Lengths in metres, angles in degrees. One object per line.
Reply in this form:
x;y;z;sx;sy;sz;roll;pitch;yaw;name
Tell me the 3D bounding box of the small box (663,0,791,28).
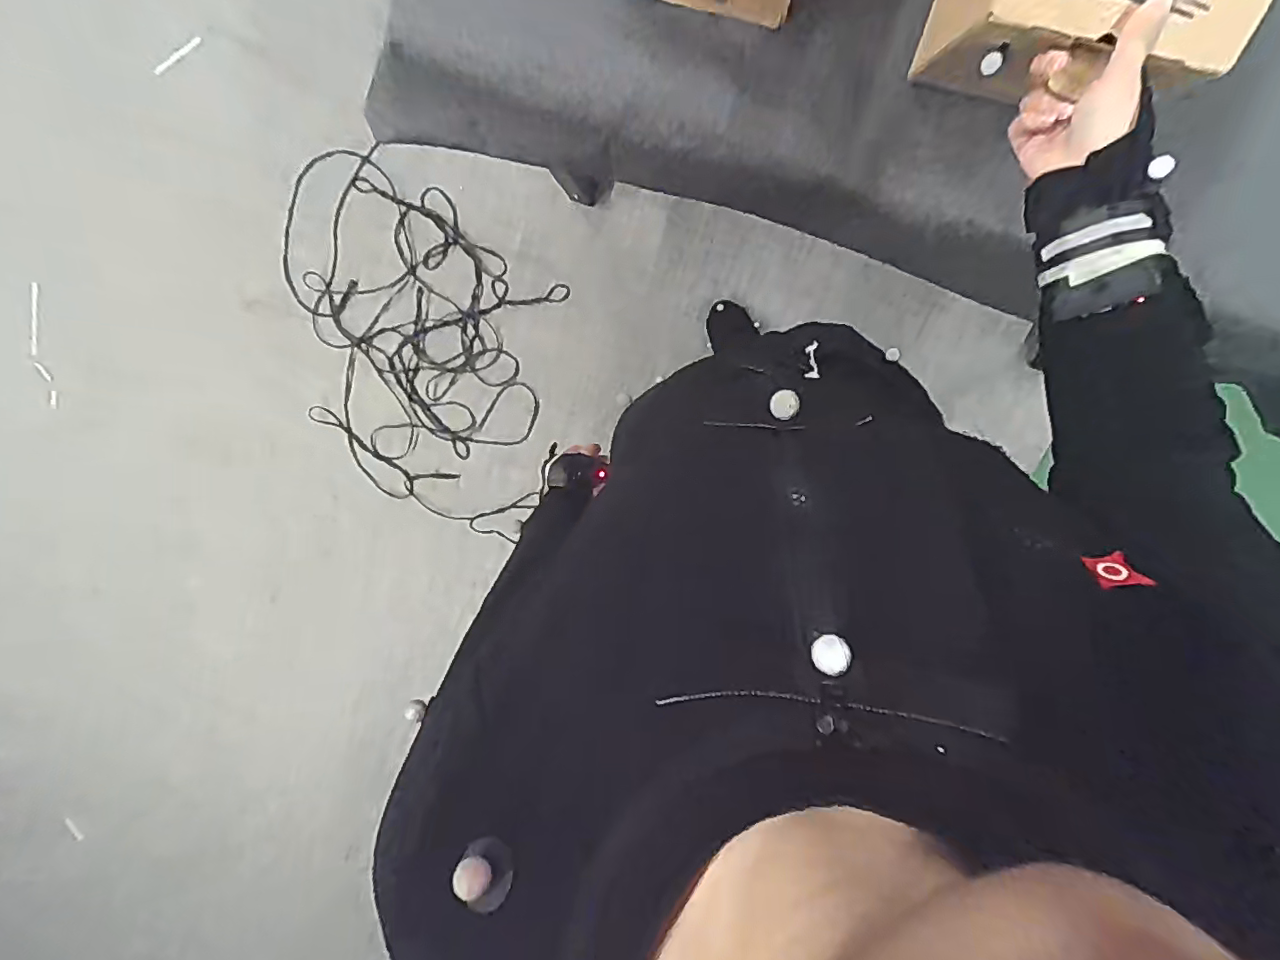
0.072;-0.512;0.418;0.168;0.176;0.179;15;104;1;small box
